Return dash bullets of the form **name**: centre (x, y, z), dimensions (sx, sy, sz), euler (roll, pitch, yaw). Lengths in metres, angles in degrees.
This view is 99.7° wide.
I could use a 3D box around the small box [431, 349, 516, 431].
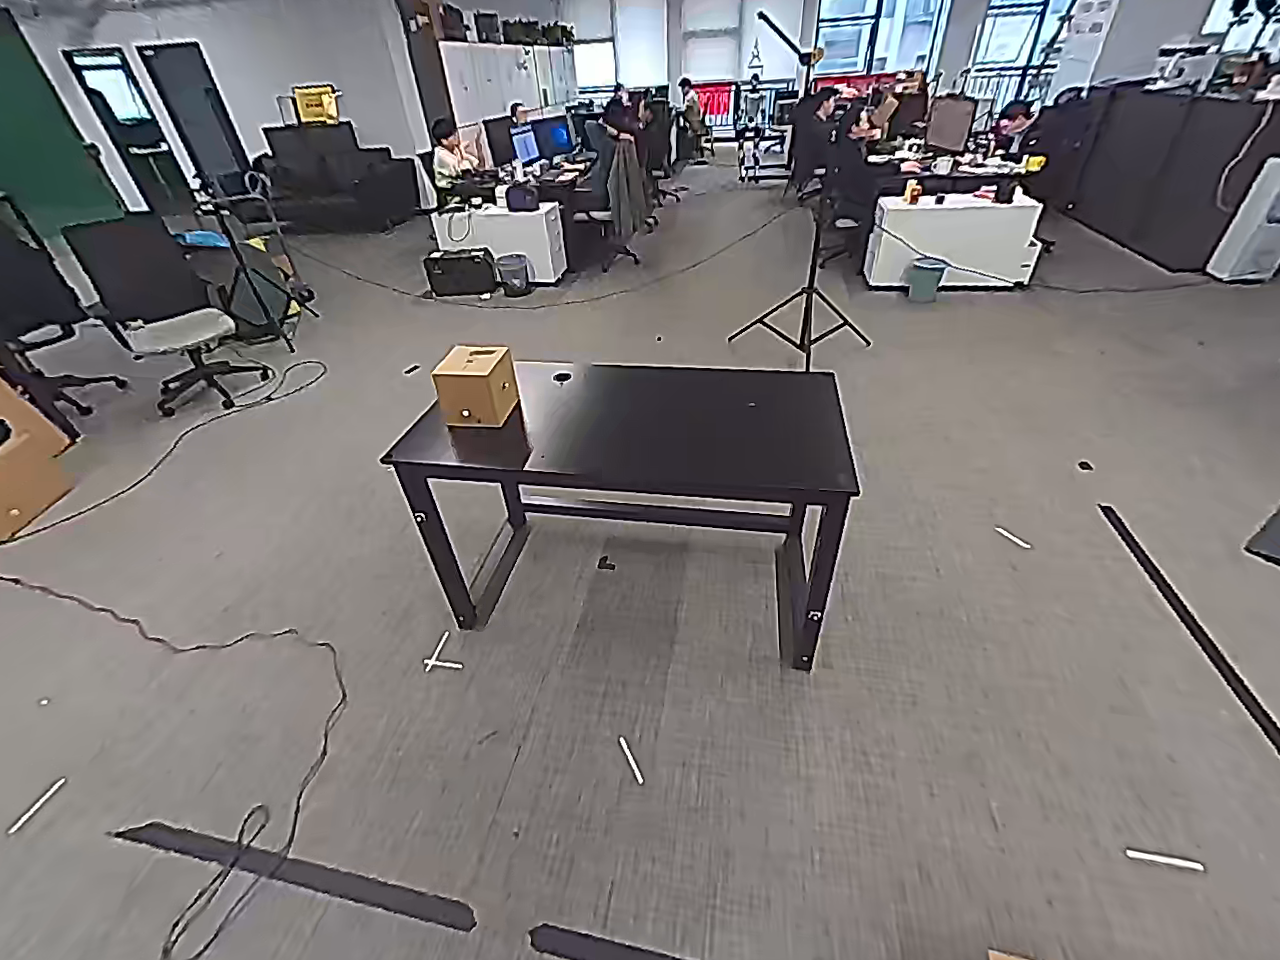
- **small box**: centre (-0.468, -0.261, 1.557), dimensions (0.168, 0.176, 0.179), euler (3, 39, 8)
